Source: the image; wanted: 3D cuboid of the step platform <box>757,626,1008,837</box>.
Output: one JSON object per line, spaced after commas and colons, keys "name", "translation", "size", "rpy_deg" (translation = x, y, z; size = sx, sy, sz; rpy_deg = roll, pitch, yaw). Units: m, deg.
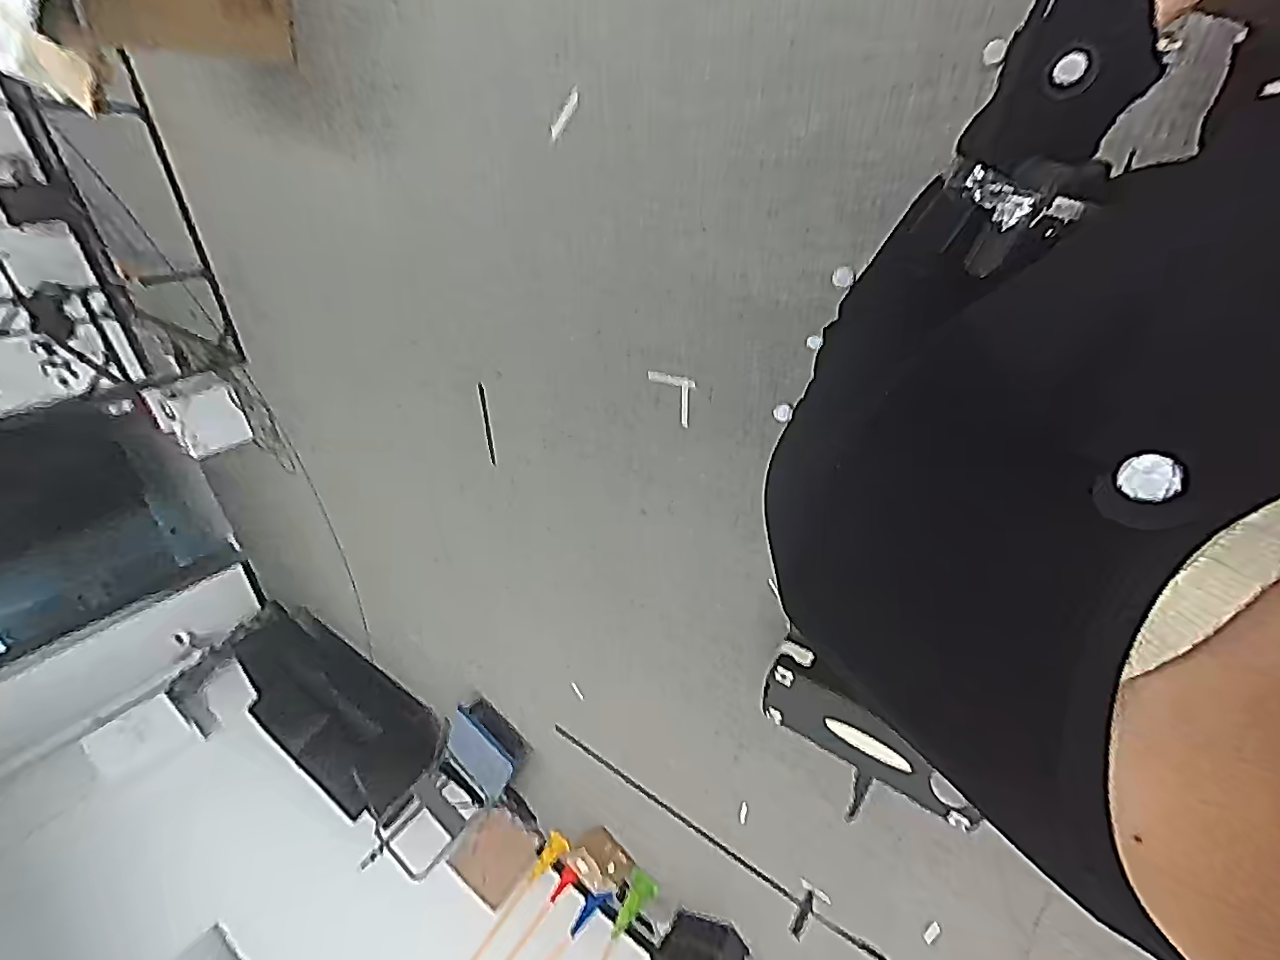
{"name": "step platform", "translation": [0.705, 0.752, 1.657], "size": [0.684, 0.204, 0.286], "rpy_deg": [27, 130, 26]}
